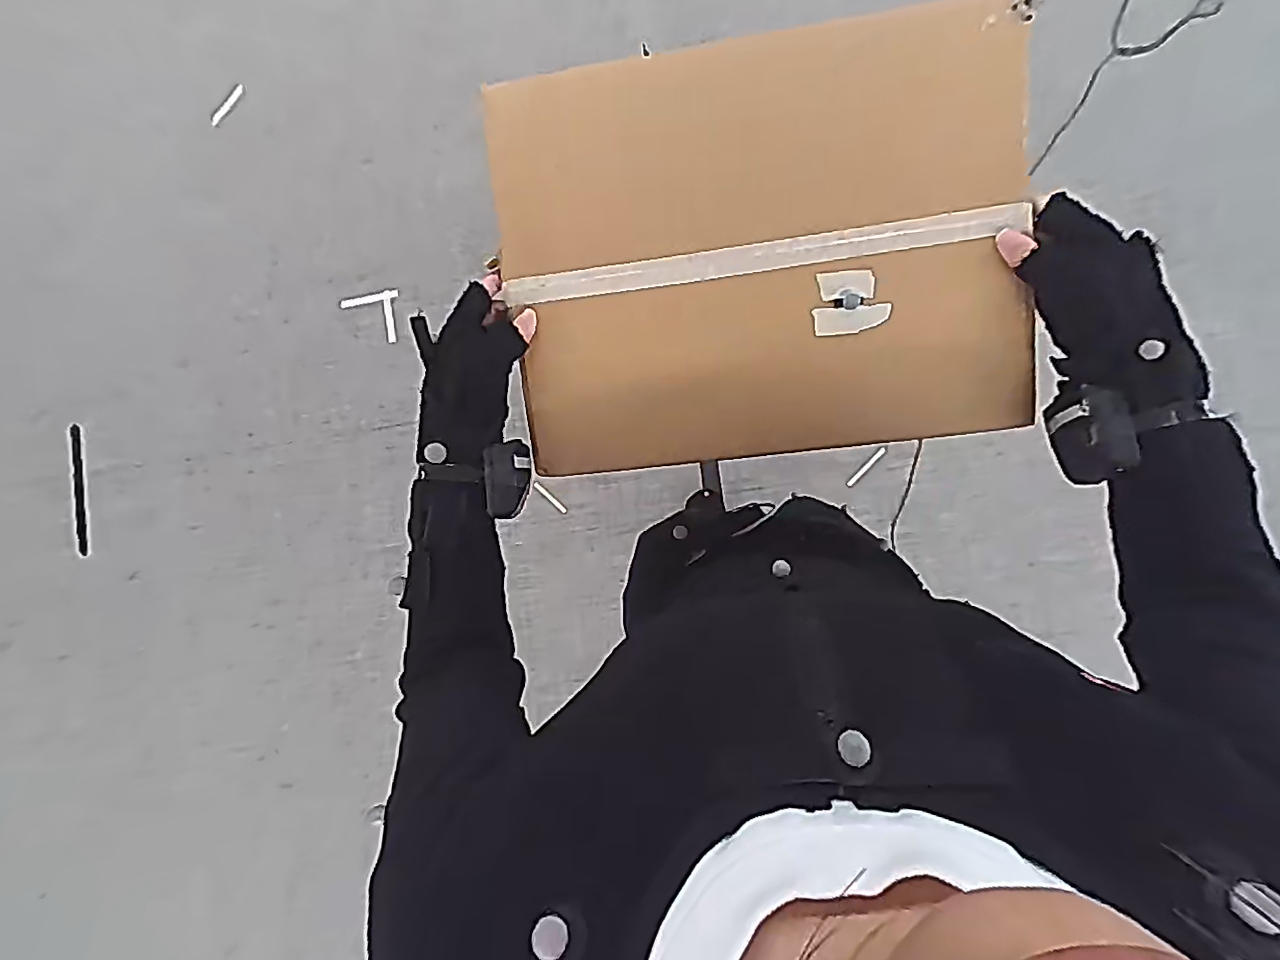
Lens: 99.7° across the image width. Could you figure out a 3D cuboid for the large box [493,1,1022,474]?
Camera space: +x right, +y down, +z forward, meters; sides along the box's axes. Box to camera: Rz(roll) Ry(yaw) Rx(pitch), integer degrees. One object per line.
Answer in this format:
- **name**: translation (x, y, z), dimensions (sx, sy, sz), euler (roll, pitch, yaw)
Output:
- **large box**: translation (0.105, -0.201, 0.586), dimensions (0.408, 0.320, 0.320), euler (-7, 99, 5)
